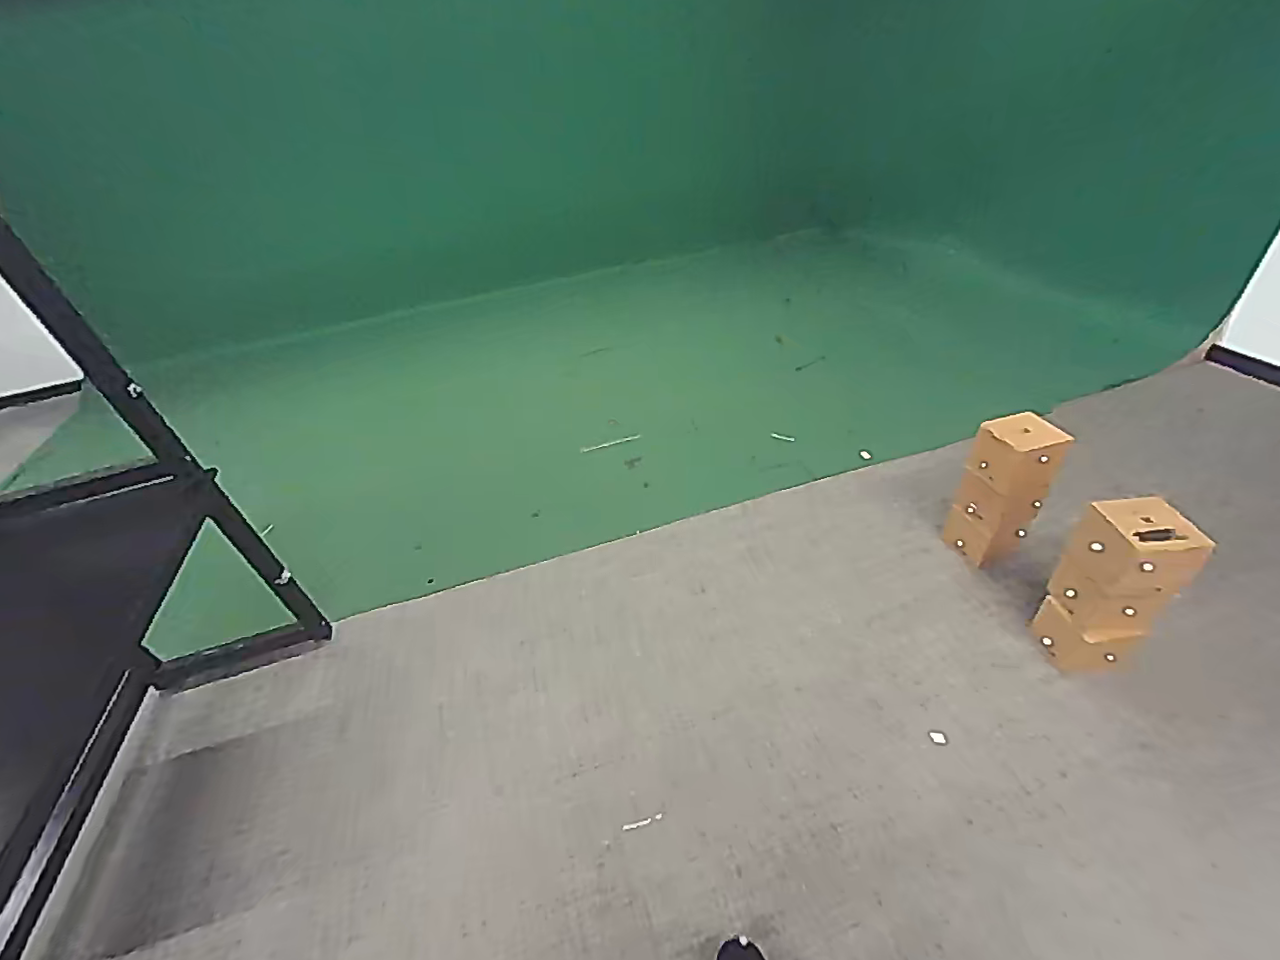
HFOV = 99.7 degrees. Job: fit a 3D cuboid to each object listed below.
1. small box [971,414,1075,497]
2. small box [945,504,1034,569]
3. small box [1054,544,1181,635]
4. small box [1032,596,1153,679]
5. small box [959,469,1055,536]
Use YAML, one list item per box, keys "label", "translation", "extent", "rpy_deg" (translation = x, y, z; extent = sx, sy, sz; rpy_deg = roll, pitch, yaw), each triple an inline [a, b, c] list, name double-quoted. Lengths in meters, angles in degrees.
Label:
- label: "small box"
  translation: [1.153, -0.073, 1.646]
  extent: [0.179, 0.176, 0.168]
  rpy_deg: [-13, 38, -6]
- label: "small box"
  translation: [1.187, 0.175, 1.852]
  extent: [0.179, 0.176, 0.168]
  rpy_deg: [-17, 39, -12]
- label: "small box"
  translation: [1.245, 0.294, 1.433]
  extent: [0.179, 0.176, 0.168]
  rpy_deg: [-7, 38, 3]
- label: "small box"
  translation: [1.257, 0.433, 1.518]
  extent: [0.179, 0.176, 0.168]
  rpy_deg: [-9, 38, 0]
- label: "small box"
  translation: [1.175, 0.052, 1.748]
  extent: [0.179, 0.176, 0.168]
  rpy_deg: [-18, 39, -11]
